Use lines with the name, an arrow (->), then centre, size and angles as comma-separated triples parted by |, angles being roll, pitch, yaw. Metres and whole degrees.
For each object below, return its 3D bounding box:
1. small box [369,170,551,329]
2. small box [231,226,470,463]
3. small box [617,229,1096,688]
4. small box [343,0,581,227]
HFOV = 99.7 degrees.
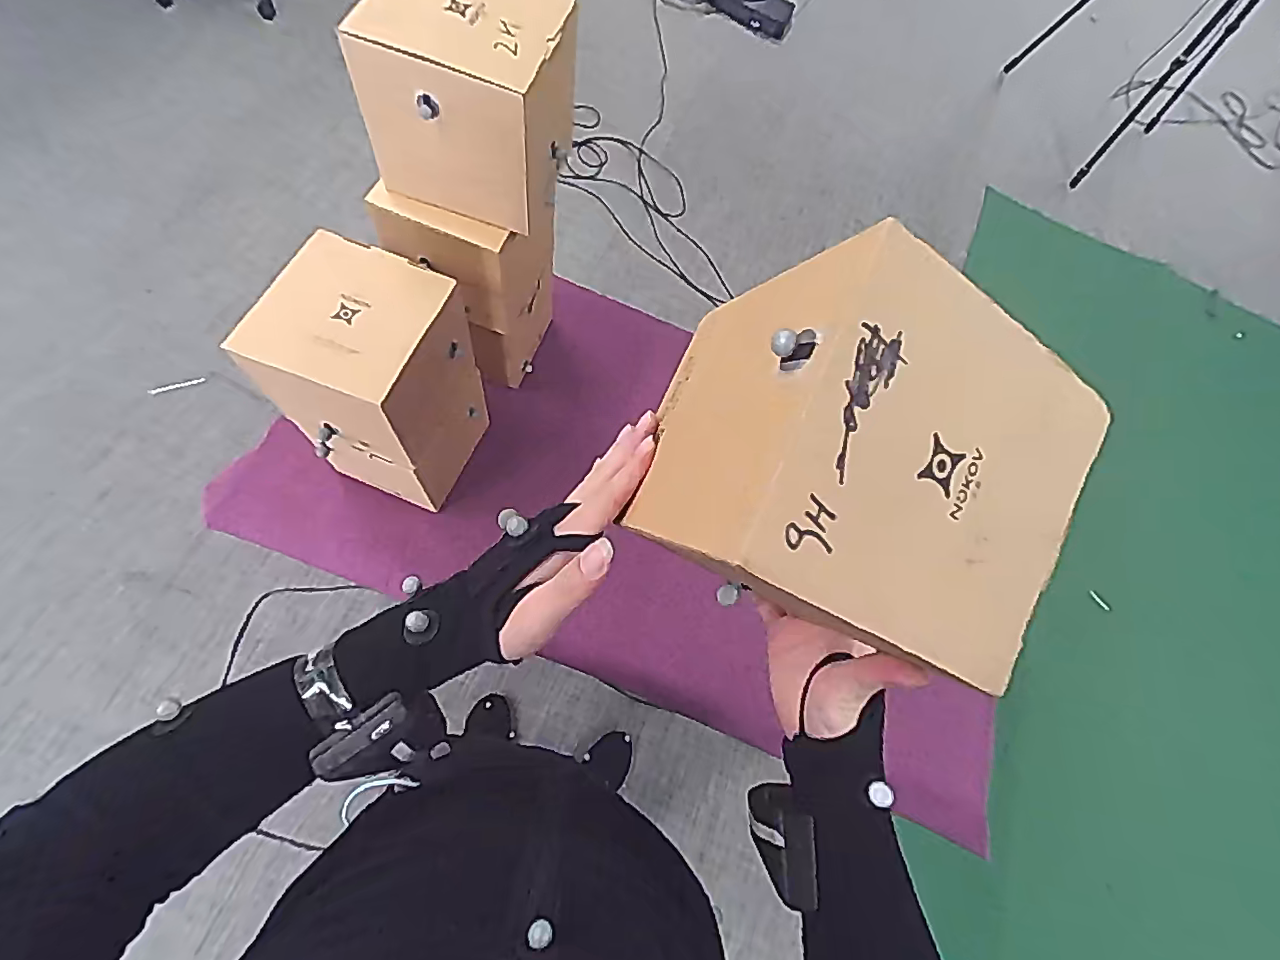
small box -> -0.222, -0.337, 0.728 | 0.168, 0.176, 0.179 | 21, 67, -2
small box -> -0.315, -0.149, 0.638 | 0.168, 0.176, 0.179 | 21, 67, -1
small box -> 0.114, -0.007, 0.330 | 0.179, 0.176, 0.168 | 28, 82, -21
small box -> -0.176, -0.413, 0.588 | 0.179, 0.176, 0.168 | 18, 67, -3
